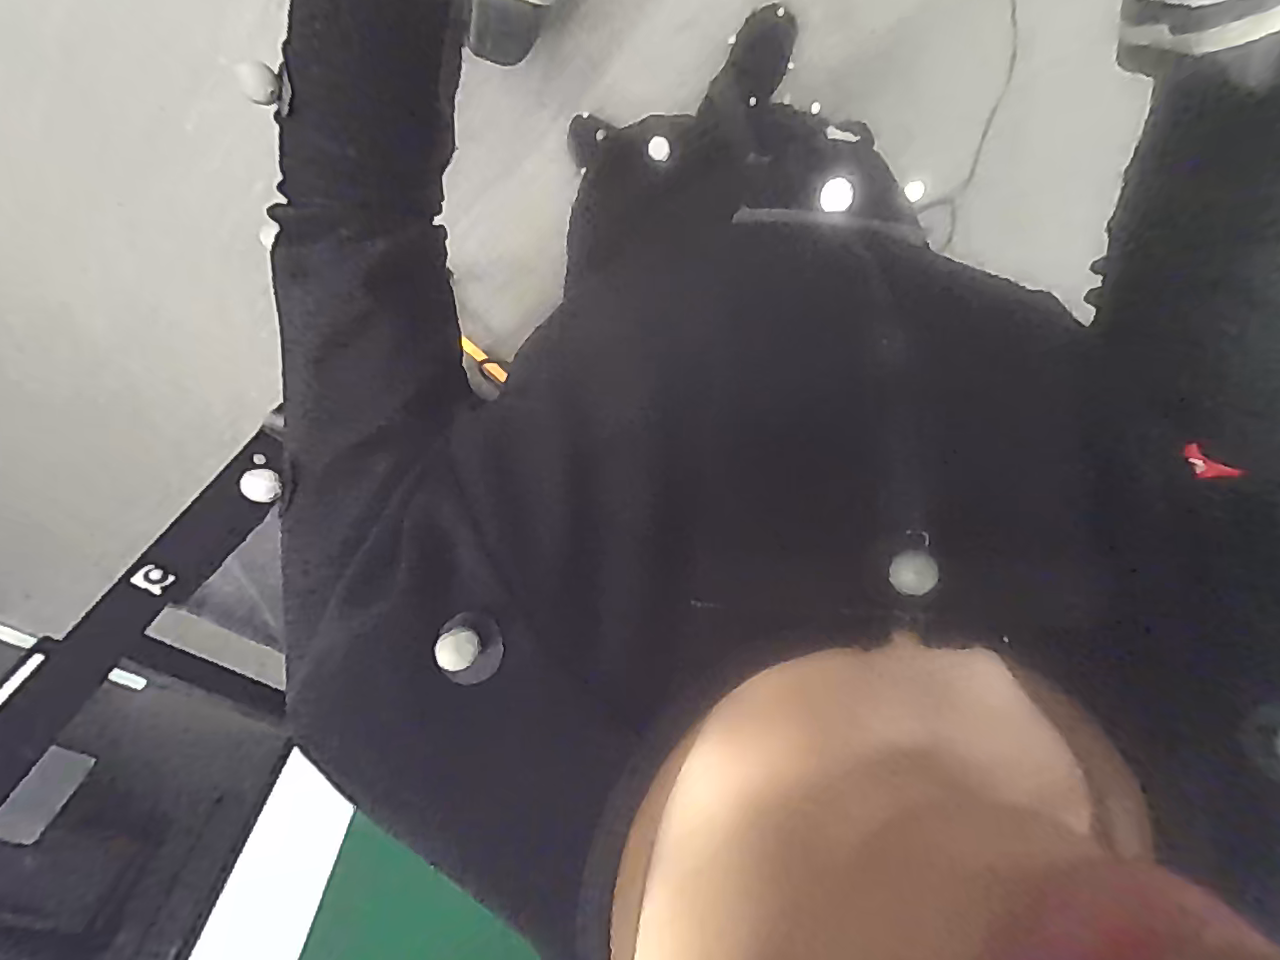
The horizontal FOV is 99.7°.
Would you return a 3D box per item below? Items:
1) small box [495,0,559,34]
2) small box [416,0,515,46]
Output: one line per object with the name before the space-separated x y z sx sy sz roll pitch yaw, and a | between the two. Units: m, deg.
small box | -0.217 -0.911 0.926 0.168 0.176 0.179 -27 125 23
small box | -0.227 -0.698 0.679 0.168 0.176 0.179 -30 123 24
